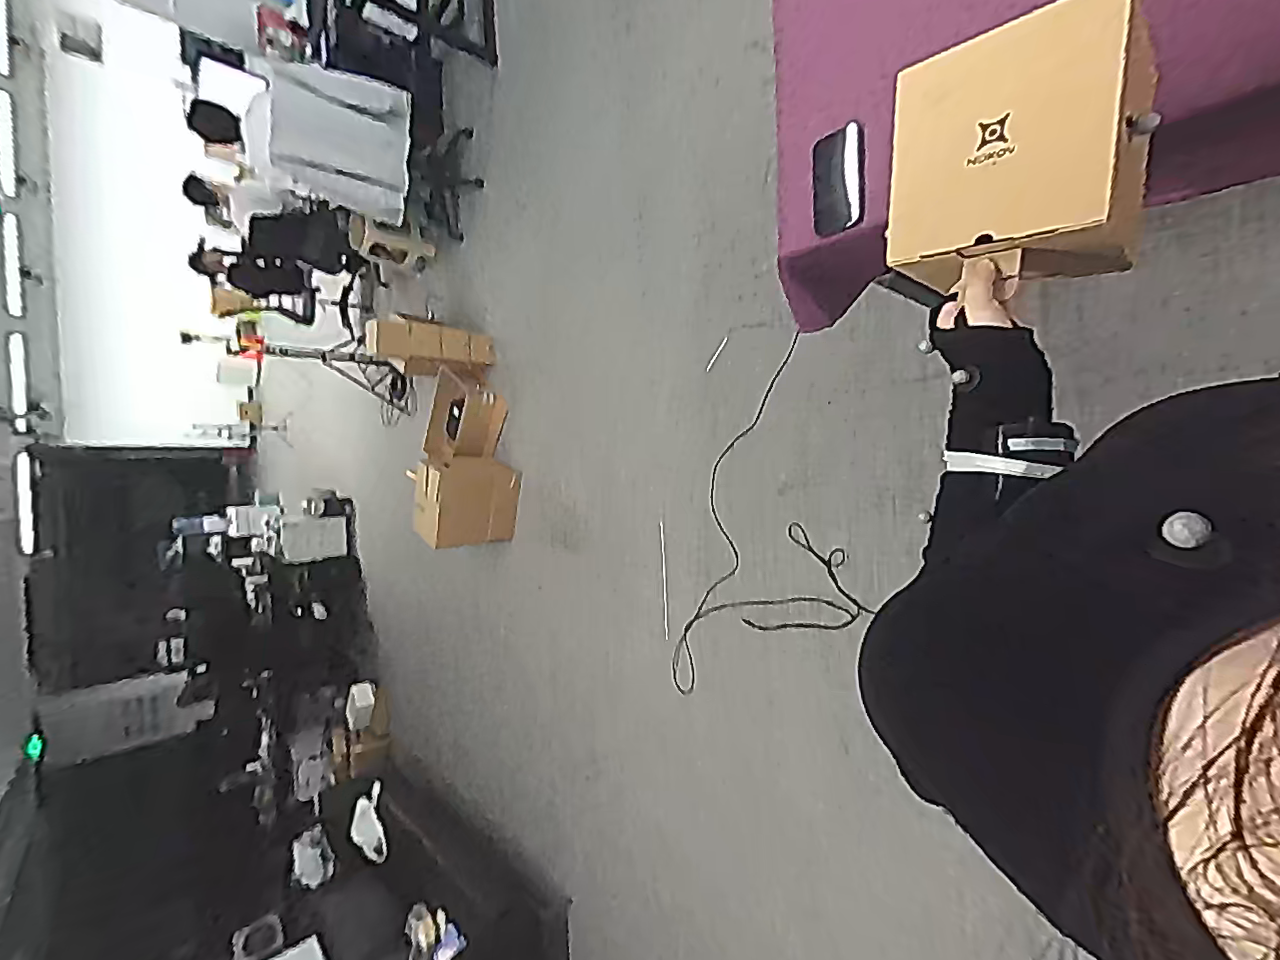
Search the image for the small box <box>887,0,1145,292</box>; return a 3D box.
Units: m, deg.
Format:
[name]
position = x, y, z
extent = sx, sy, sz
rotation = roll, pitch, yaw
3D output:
[small box]
position = 0.354, -0.291, 0.510
extent = 0.168, 0.176, 0.179
rotation = 8, 100, 45
